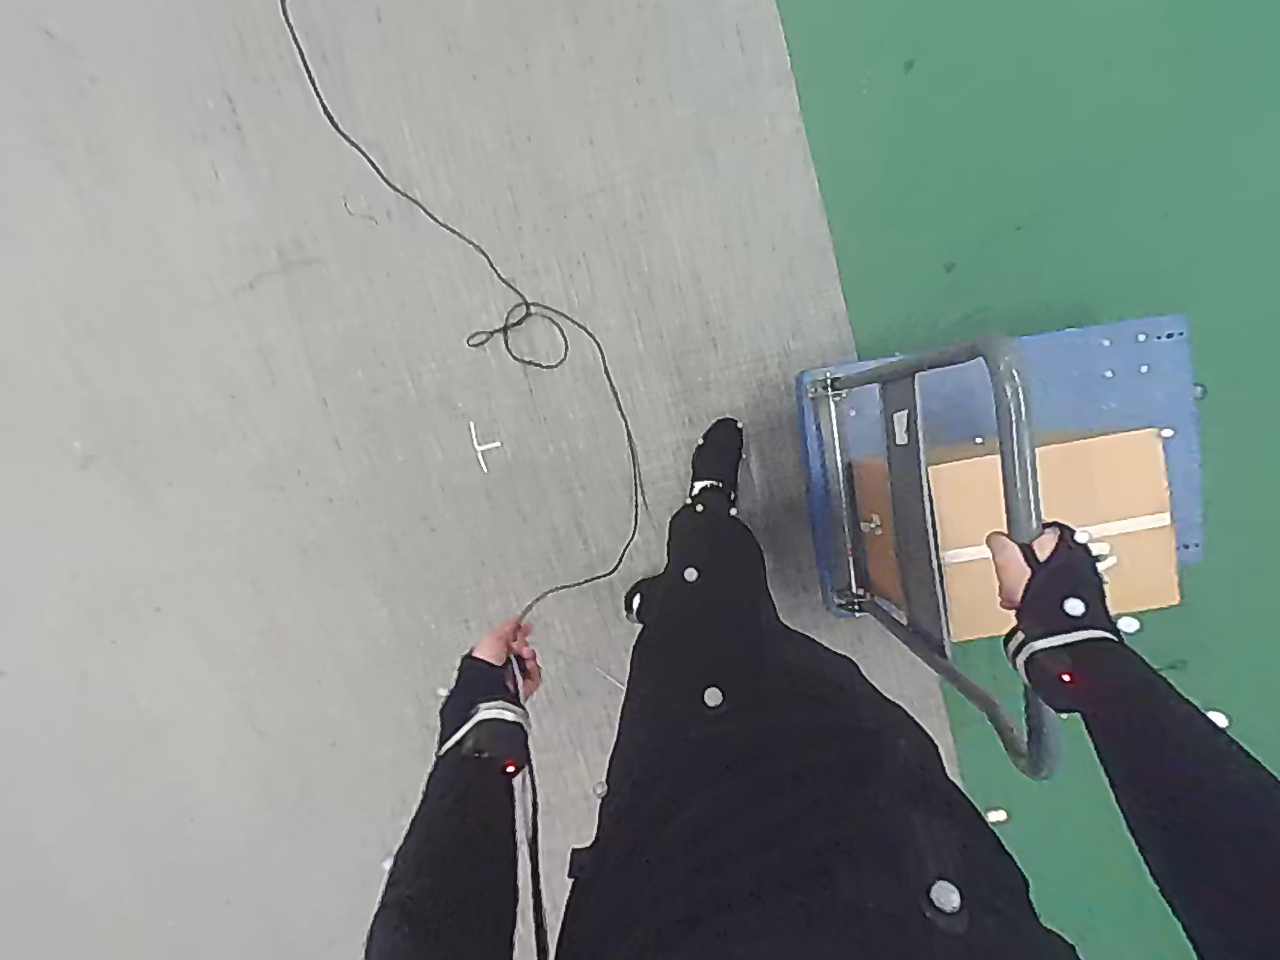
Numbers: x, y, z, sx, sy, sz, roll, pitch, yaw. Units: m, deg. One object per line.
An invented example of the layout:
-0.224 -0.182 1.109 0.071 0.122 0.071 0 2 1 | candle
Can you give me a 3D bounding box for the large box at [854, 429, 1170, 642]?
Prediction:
0.704 0.091 1.084 0.408 0.320 0.320 -10 94 -1 | large box
